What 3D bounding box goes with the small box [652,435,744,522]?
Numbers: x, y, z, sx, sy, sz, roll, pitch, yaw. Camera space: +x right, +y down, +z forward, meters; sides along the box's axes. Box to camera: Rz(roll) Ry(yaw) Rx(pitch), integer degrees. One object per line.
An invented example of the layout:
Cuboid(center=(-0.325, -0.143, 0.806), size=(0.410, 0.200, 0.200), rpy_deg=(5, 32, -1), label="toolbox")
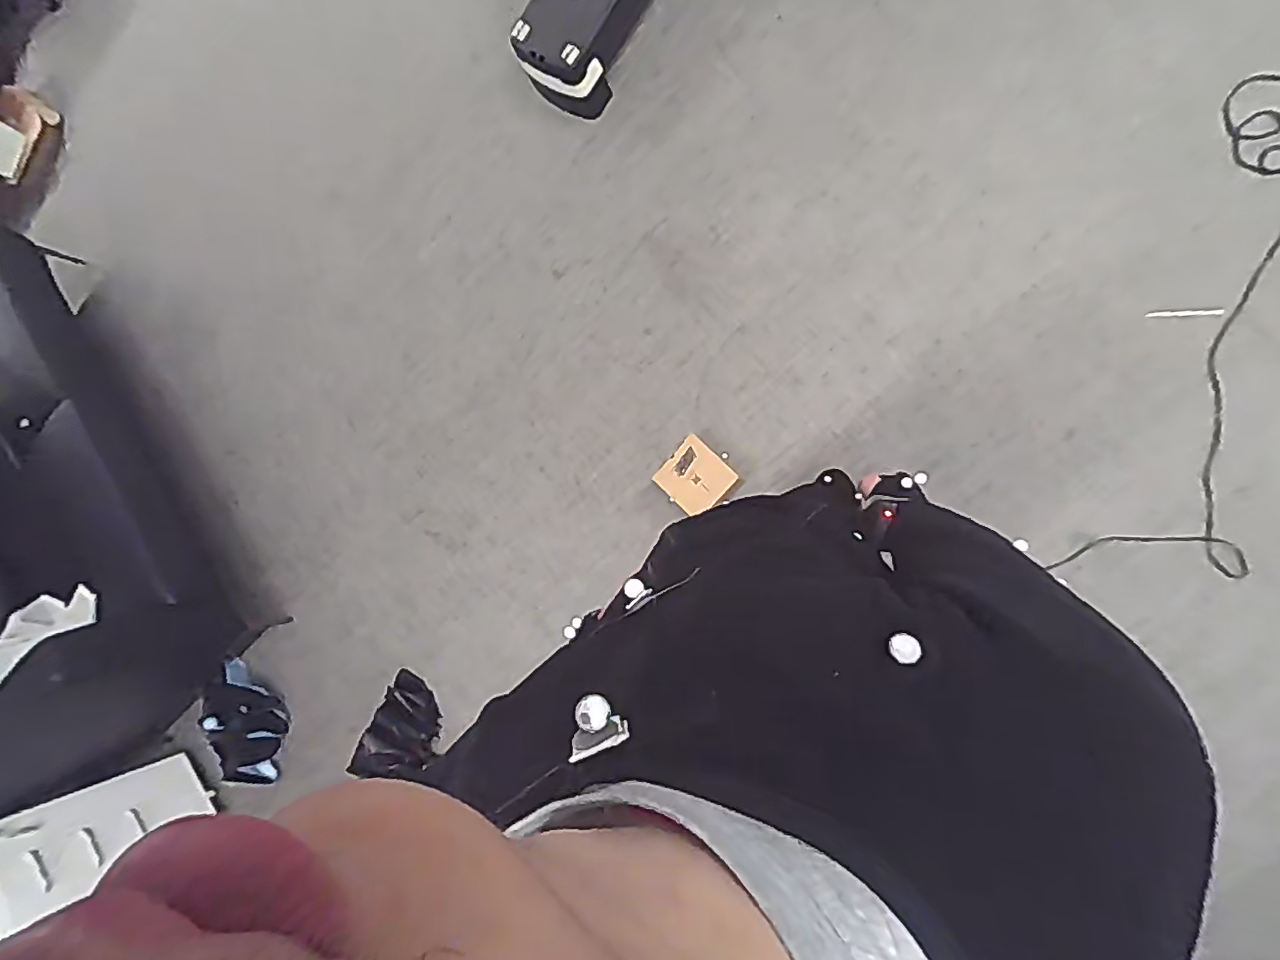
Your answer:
Cuboid(center=(0.166, 0.002, 1.503), size=(0.179, 0.176, 0.168), rpy_deg=(44, 101, 15), label="small box")
